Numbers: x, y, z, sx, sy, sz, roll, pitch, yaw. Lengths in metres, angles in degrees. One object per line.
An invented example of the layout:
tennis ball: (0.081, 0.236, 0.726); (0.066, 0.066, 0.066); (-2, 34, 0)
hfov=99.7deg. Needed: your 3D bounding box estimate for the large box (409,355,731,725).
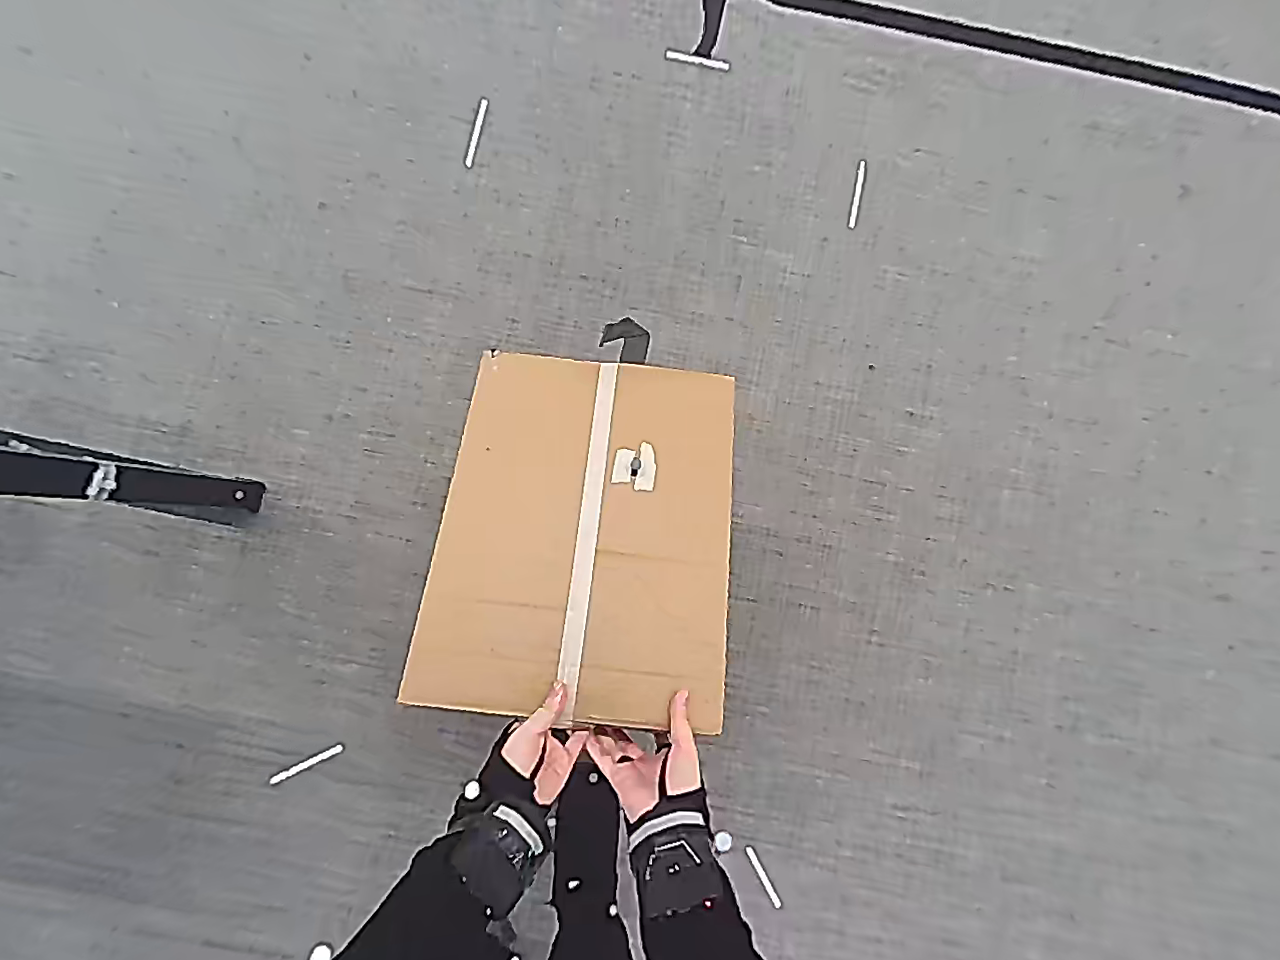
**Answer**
large box: (-0.063, 0.100, 0.730); (0.320, 0.320, 0.408); (7, 67, -2)
